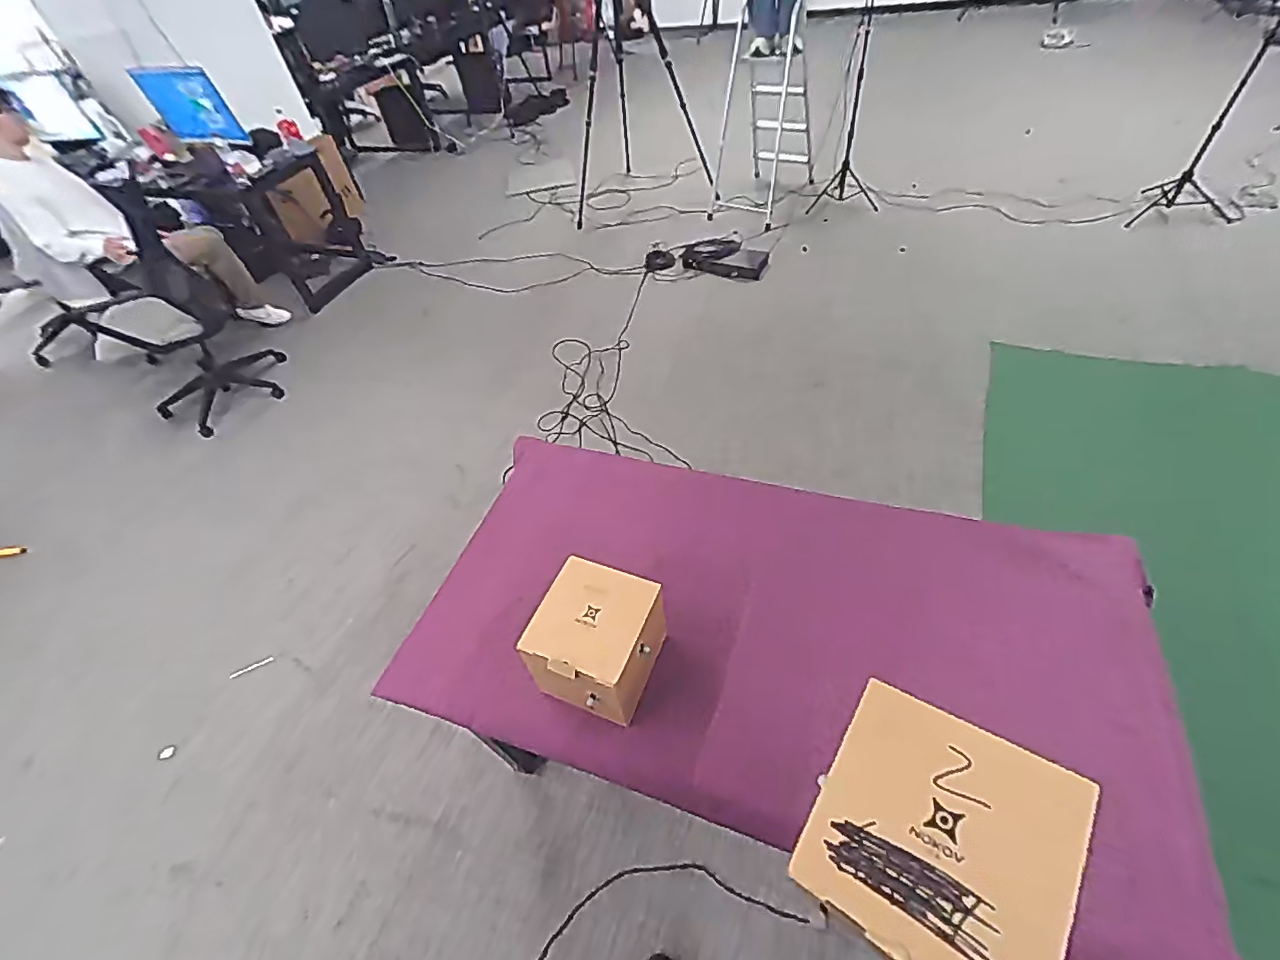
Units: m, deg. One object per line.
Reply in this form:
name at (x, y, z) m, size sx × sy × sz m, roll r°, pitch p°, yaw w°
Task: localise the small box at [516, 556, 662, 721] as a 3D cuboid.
small box at (-0.069, 0.259, 0.877) m, size 0.168 × 0.176 × 0.179 m, roll 15°, pitch 51°, yaw 20°
